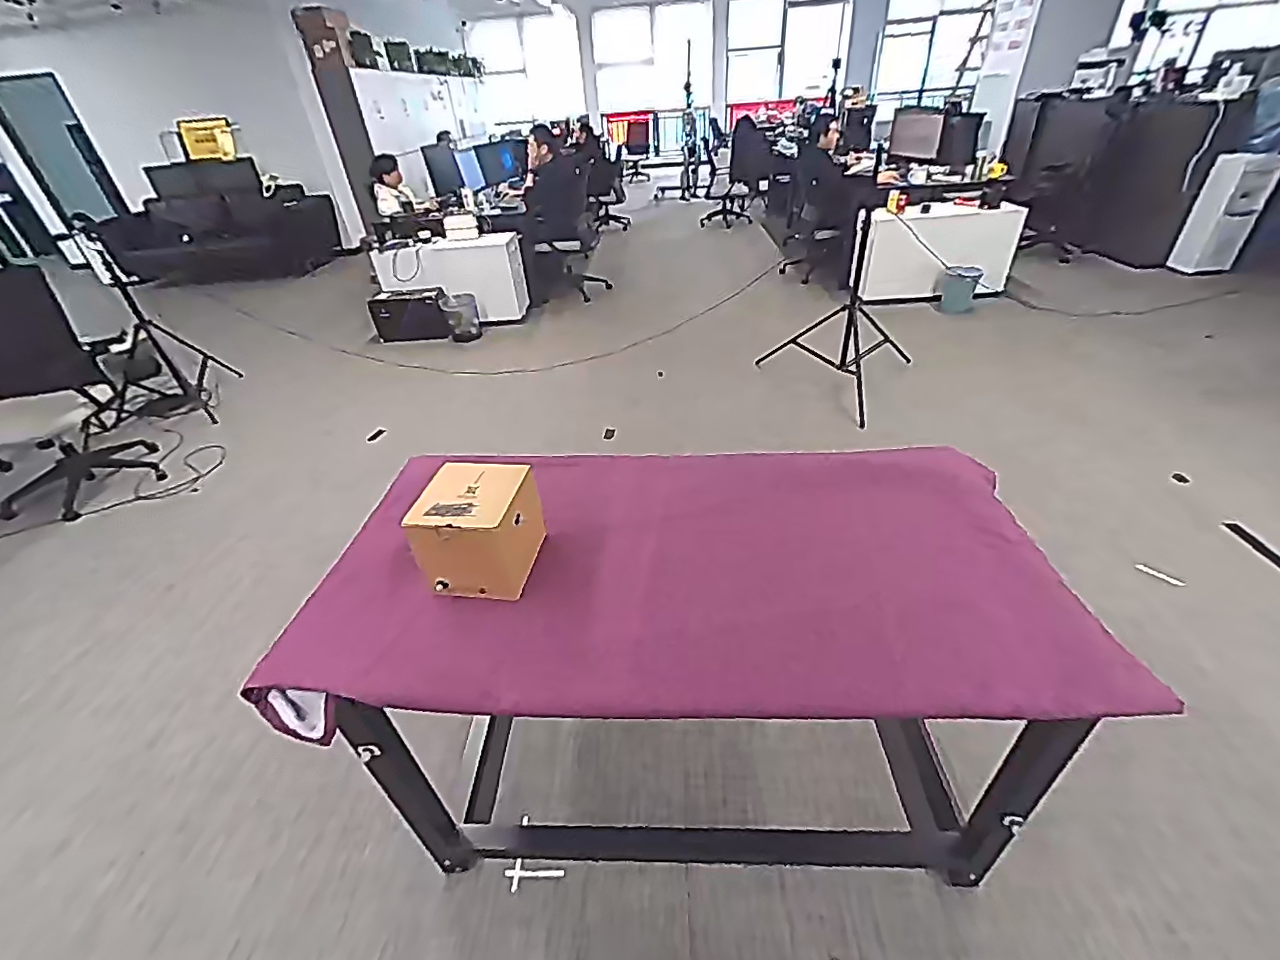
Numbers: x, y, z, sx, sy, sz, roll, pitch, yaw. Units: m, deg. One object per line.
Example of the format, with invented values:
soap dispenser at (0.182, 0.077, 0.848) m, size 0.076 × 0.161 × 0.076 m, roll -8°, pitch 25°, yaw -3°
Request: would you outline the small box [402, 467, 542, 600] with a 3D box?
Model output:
small box at (-0.283, 0.094, 0.963) m, size 0.168 × 0.176 × 0.179 m, roll 2°, pitch 36°, yaw 9°
